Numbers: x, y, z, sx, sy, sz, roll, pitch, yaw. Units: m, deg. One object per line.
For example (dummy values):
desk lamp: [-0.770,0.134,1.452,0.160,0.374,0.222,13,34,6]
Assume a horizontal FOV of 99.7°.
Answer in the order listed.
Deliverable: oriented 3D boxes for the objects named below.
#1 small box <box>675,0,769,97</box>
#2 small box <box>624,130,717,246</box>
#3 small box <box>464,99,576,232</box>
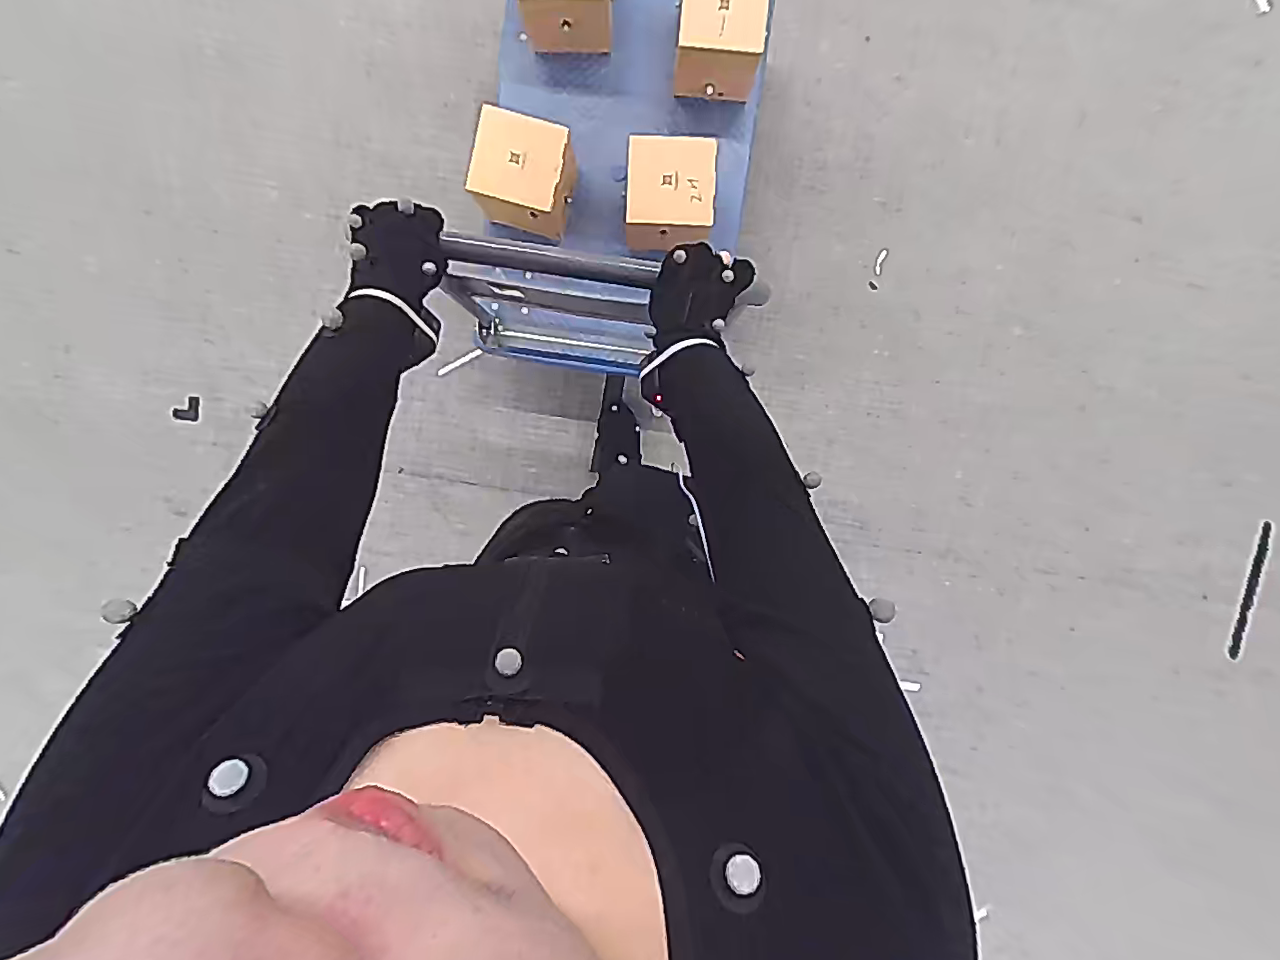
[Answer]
small box: [0.161,-0.921,1.091,0.168,0.176,0.179,5,98,0]
small box: [0.060,-0.600,1.131,0.179,0.176,0.168,3,97,0]
small box: [-0.241,-0.642,1.128,0.179,0.176,0.168,14,96,-3]
